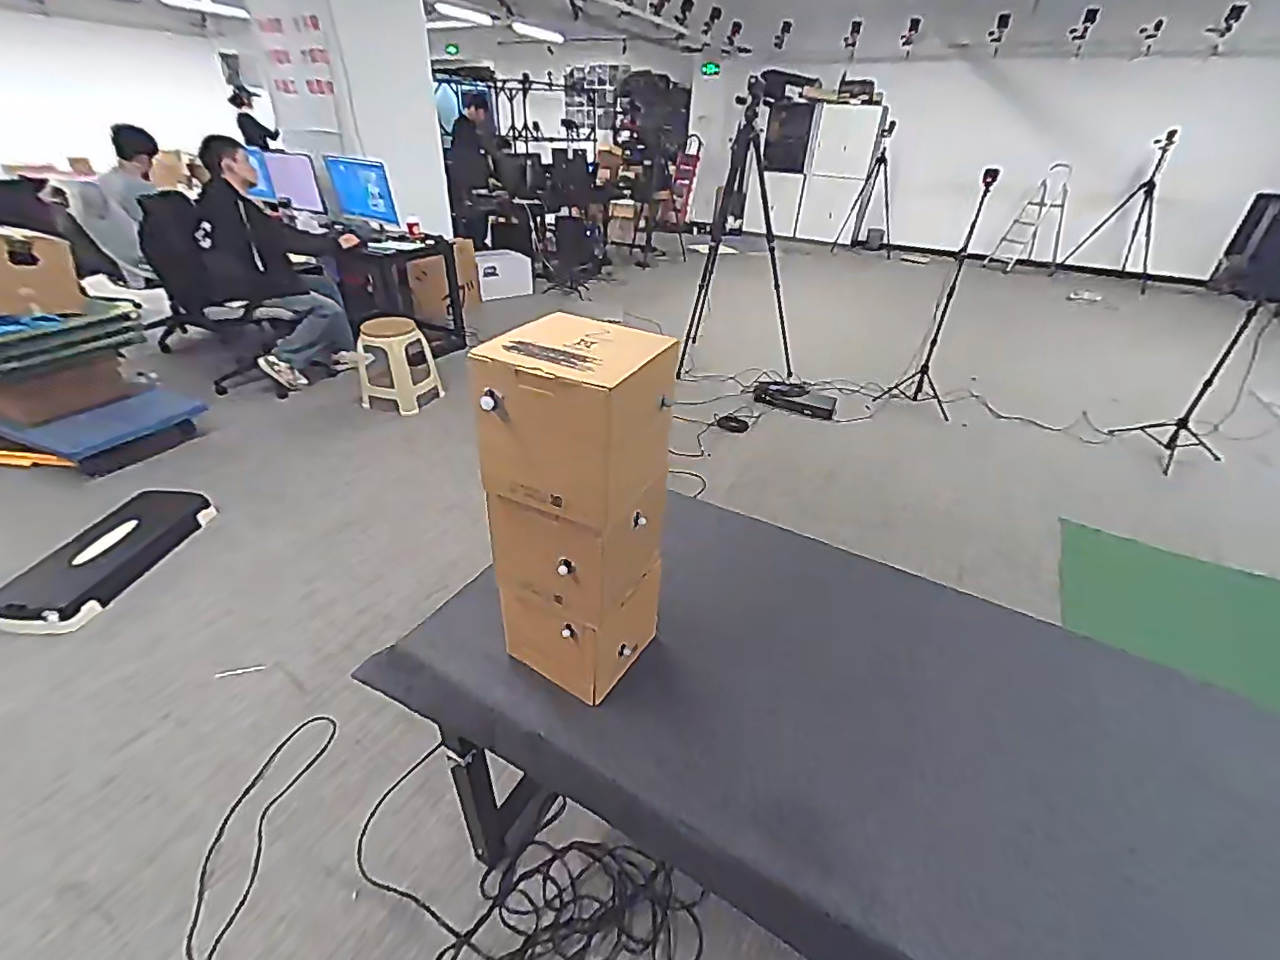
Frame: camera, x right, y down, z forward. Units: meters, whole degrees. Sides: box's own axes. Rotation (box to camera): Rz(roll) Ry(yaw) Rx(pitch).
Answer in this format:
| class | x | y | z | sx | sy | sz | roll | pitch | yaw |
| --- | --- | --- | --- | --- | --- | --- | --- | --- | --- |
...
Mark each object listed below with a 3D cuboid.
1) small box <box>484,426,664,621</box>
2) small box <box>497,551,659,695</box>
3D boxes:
| class | x | y | z | sx | sy | sz | roll | pitch | yaw |
| --- | --- | --- | --- | --- | --- | --- | --- | --- | --- |
| small box | -0.081 | 0.054 | 0.720 | 0.168 | 0.176 | 0.179 | 19 | 35 | 20 |
| small box | -0.091 | 0.186 | 0.815 | 0.179 | 0.176 | 0.168 | 22 | 37 | 25 |
